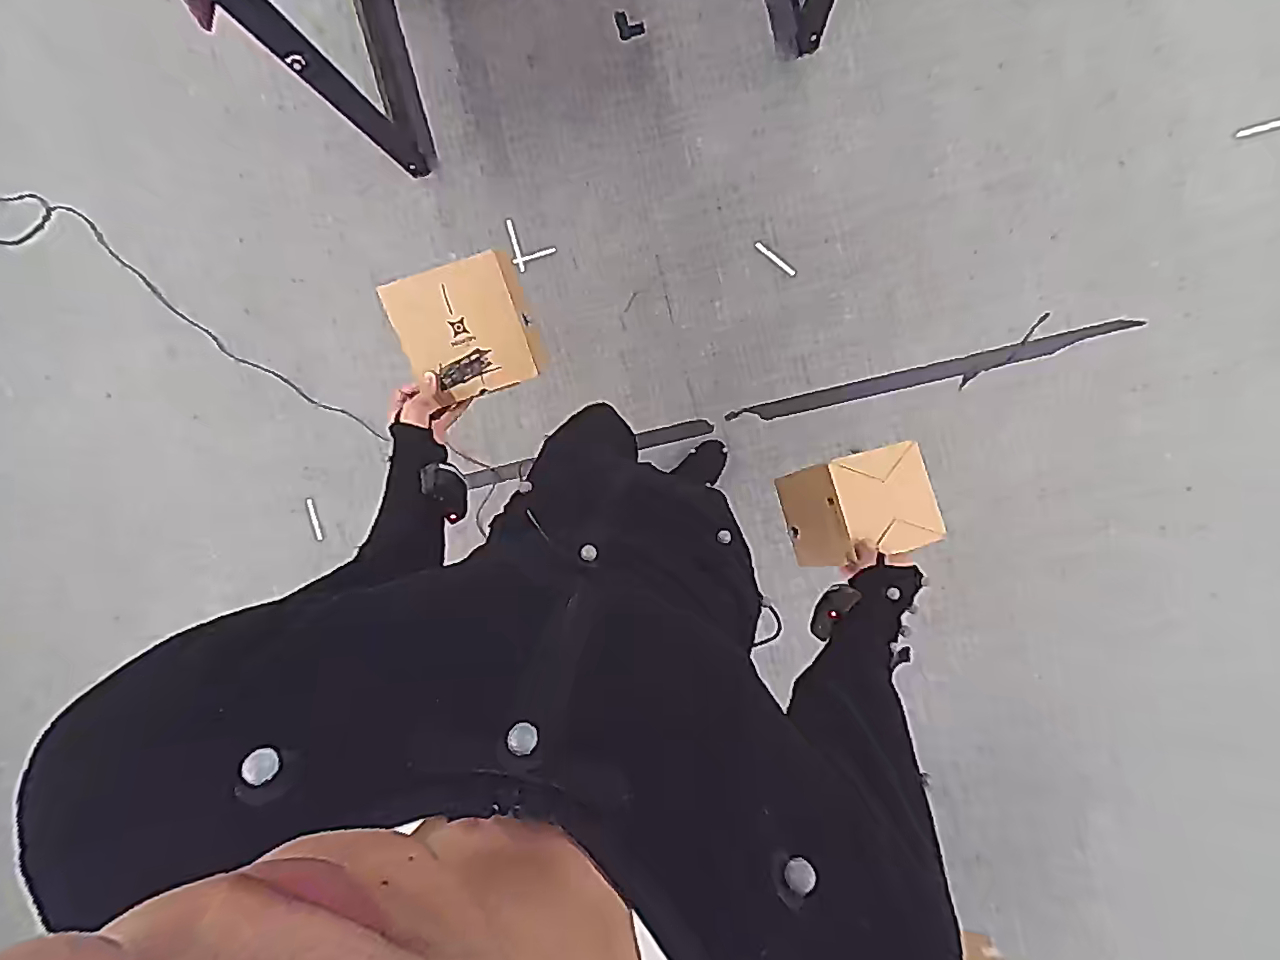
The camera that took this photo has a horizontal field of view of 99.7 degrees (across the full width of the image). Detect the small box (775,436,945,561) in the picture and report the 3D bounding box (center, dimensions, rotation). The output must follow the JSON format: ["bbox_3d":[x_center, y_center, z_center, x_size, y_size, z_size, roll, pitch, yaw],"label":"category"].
[{"bbox_3d":[0.361,0.033,0.898,0.179,0.176,0.168,-14,84,-17],"label":"small box"}]

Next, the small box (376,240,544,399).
[{"bbox_3d":[-0.248,-0.242,0.800,0.168,0.176,0.179,-17,113,1],"label":"small box"}]
